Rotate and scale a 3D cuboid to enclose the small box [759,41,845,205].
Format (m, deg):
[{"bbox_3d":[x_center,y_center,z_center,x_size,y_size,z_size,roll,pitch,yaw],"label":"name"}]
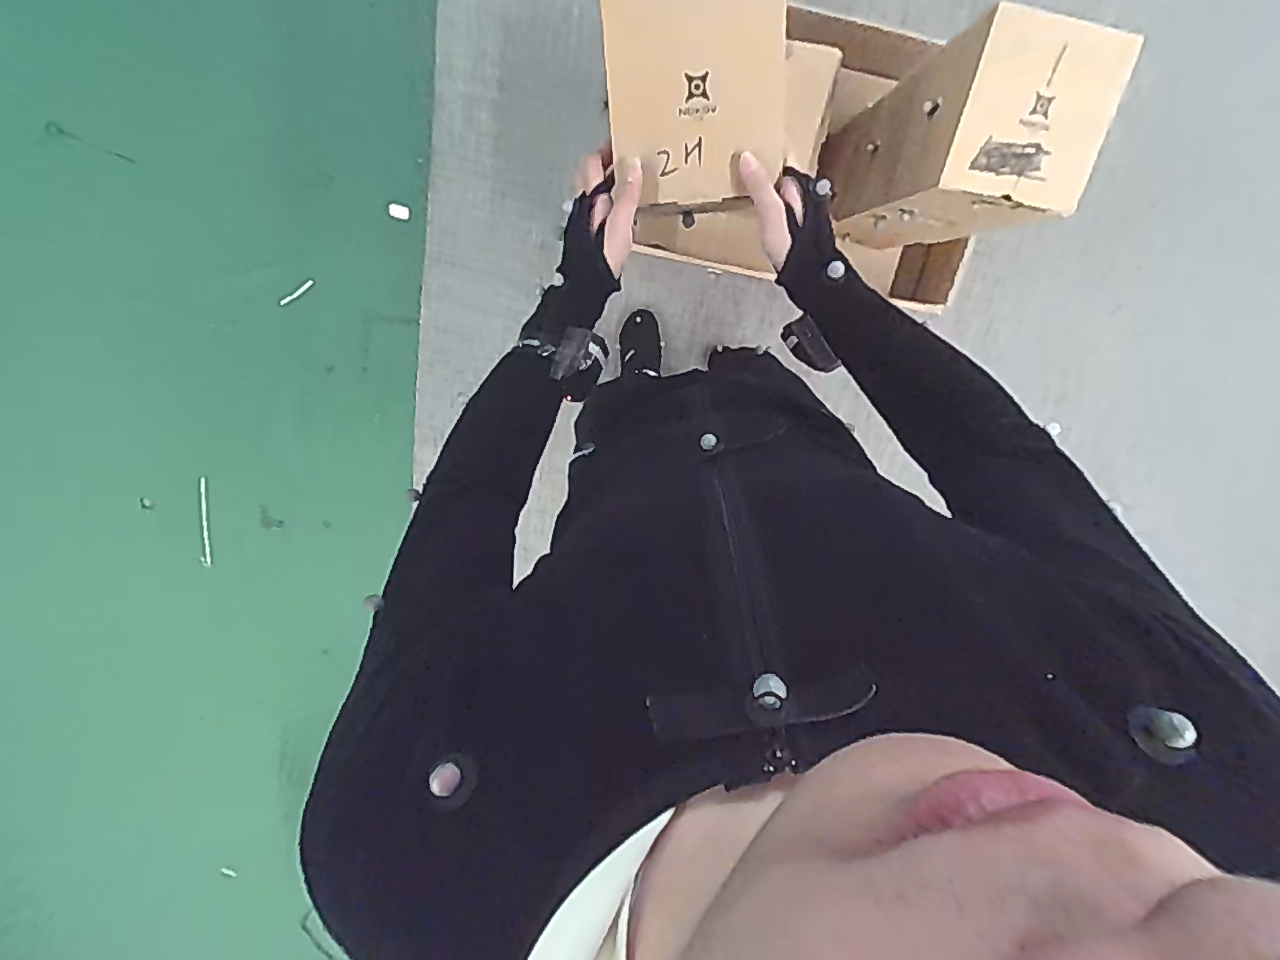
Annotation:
[{"bbox_3d":[0.168,-0.517,0.798,0.179,0.176,0.168,8,109,-3],"label":"small box"}]

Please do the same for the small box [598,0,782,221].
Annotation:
[{"bbox_3d":[0.047,-0.383,0.574,0.168,0.176,0.179,-5,112,2],"label":"small box"}]

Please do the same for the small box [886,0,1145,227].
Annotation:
[{"bbox_3d":[0.428,-0.421,0.656,0.168,0.176,0.179,11,108,-4],"label":"small box"}]
